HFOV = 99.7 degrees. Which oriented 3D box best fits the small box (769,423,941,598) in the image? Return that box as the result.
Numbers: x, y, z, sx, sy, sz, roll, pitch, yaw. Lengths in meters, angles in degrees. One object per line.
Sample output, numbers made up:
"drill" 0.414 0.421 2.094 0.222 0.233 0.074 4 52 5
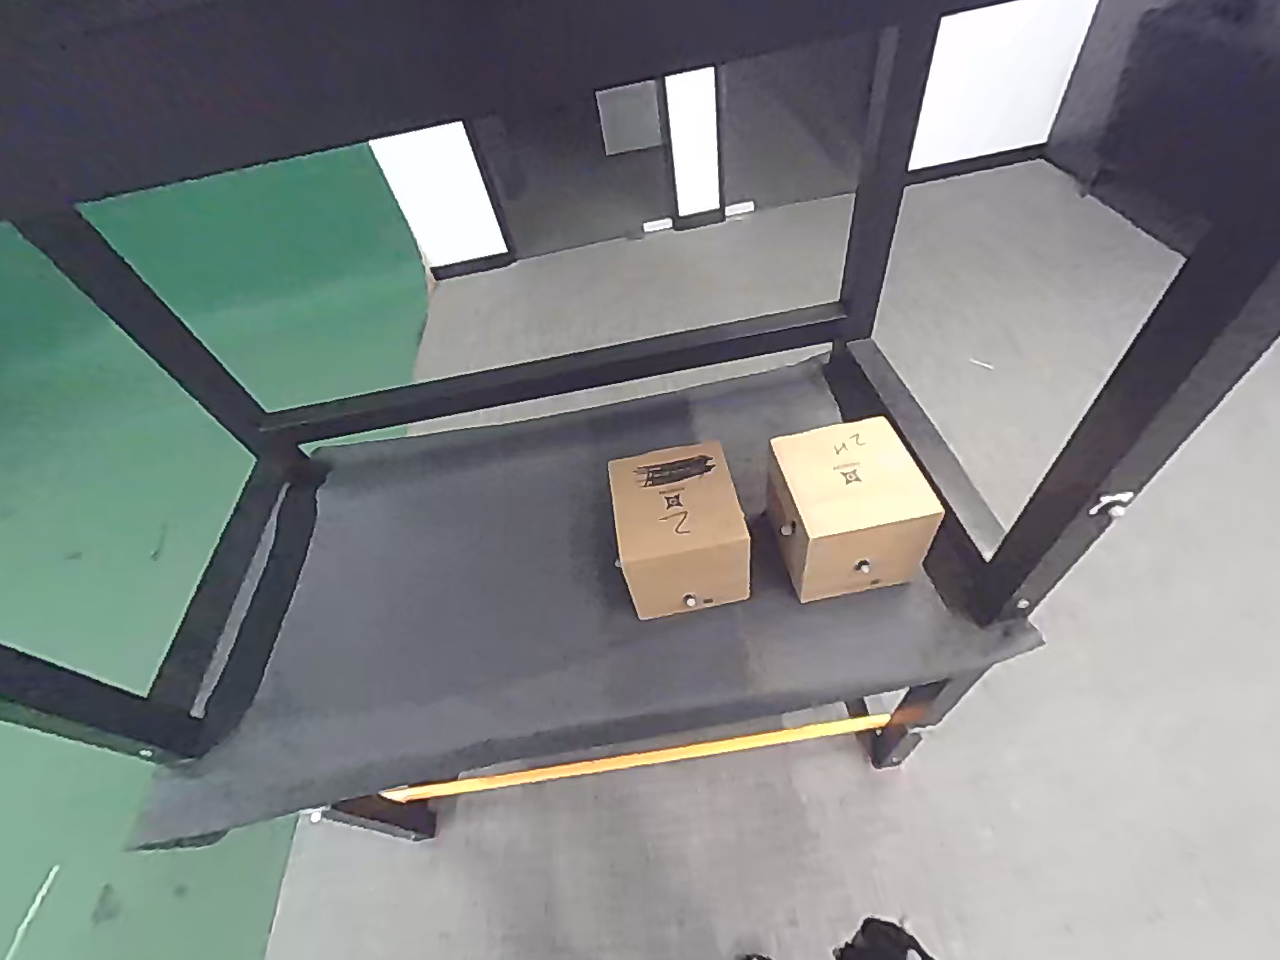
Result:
"small box" 0.287 0.051 0.764 0.168 0.176 0.179 -11 48 2
